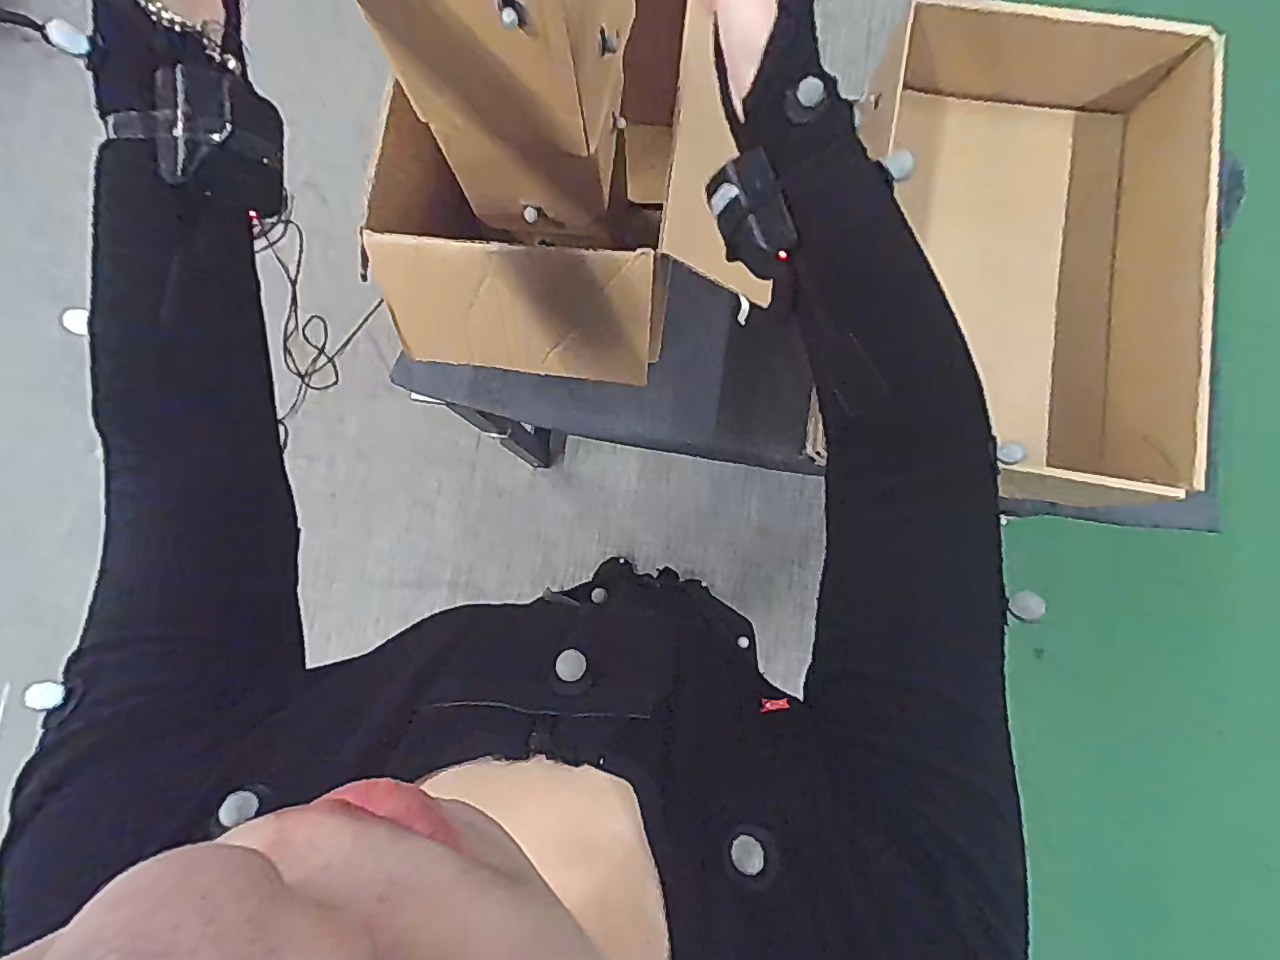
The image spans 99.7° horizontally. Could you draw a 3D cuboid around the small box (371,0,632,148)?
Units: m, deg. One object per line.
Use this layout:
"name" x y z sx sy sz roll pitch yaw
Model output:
"small box" -0.111 -0.415 0.446 0.179 0.176 0.168 14 83 3
